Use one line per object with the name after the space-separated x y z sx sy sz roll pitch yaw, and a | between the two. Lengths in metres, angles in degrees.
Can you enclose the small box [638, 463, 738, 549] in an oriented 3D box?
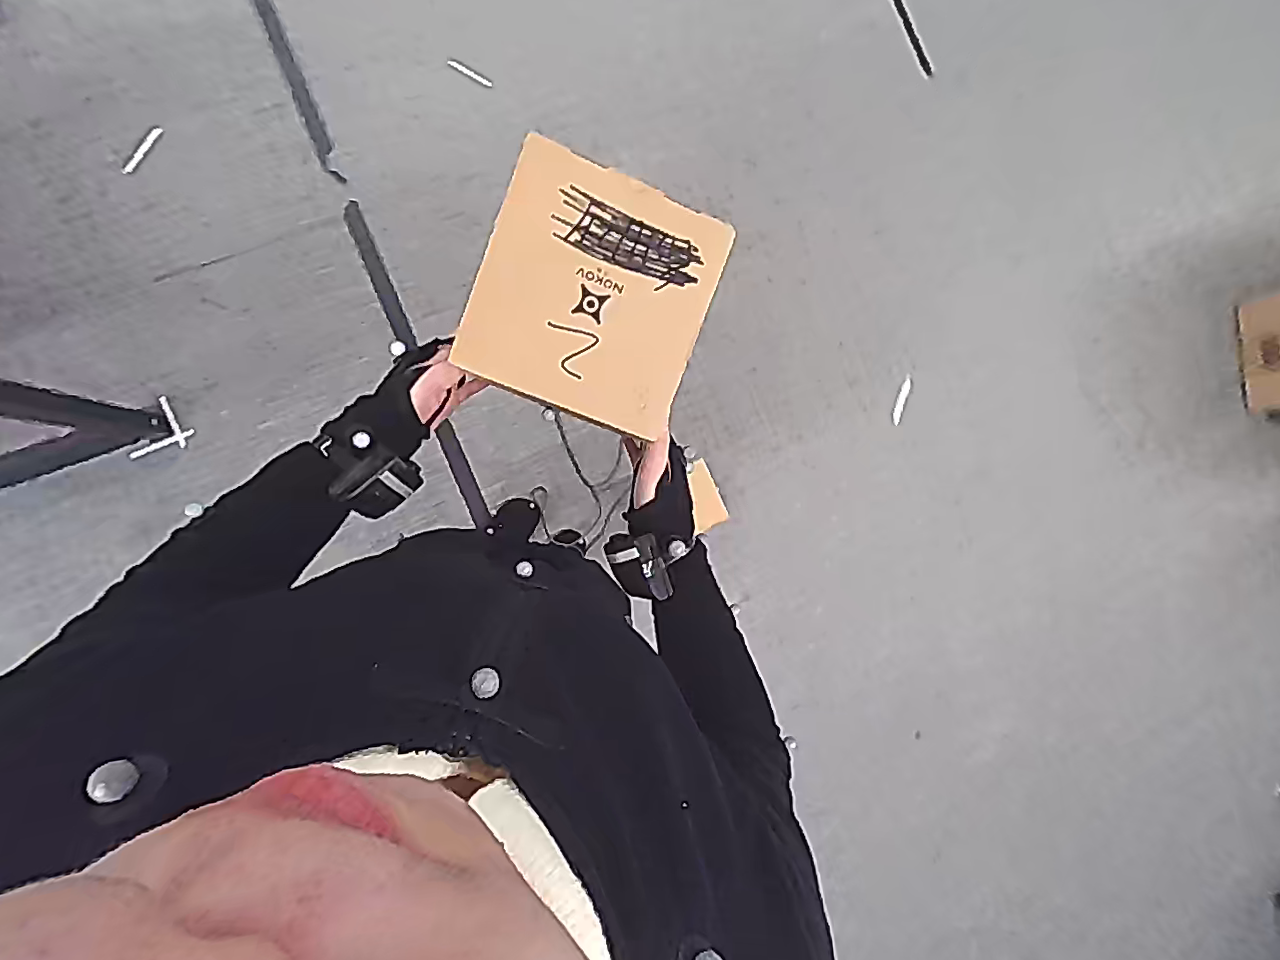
0.130 0.068 1.444 0.179 0.176 0.168 -32 113 -27 | small box
